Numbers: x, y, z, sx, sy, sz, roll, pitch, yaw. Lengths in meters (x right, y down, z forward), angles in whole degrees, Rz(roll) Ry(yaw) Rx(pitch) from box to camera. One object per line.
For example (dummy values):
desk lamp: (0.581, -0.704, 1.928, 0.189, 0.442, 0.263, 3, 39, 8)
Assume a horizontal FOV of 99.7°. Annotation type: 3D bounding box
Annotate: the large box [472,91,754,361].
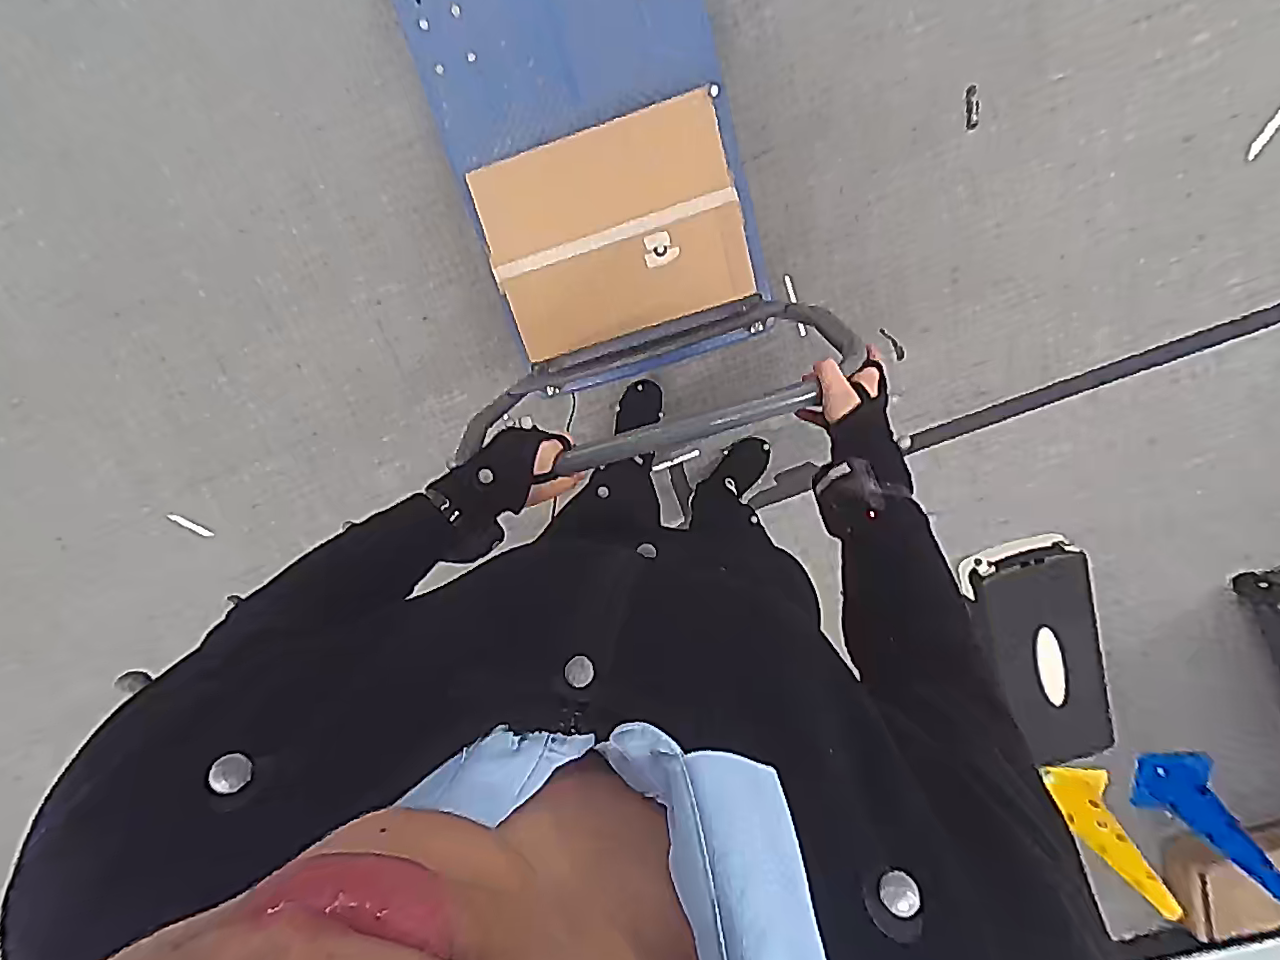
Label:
large box: (-0.038, -0.442, 1.030, 0.408, 0.320, 0.320, -16, 106, 6)
